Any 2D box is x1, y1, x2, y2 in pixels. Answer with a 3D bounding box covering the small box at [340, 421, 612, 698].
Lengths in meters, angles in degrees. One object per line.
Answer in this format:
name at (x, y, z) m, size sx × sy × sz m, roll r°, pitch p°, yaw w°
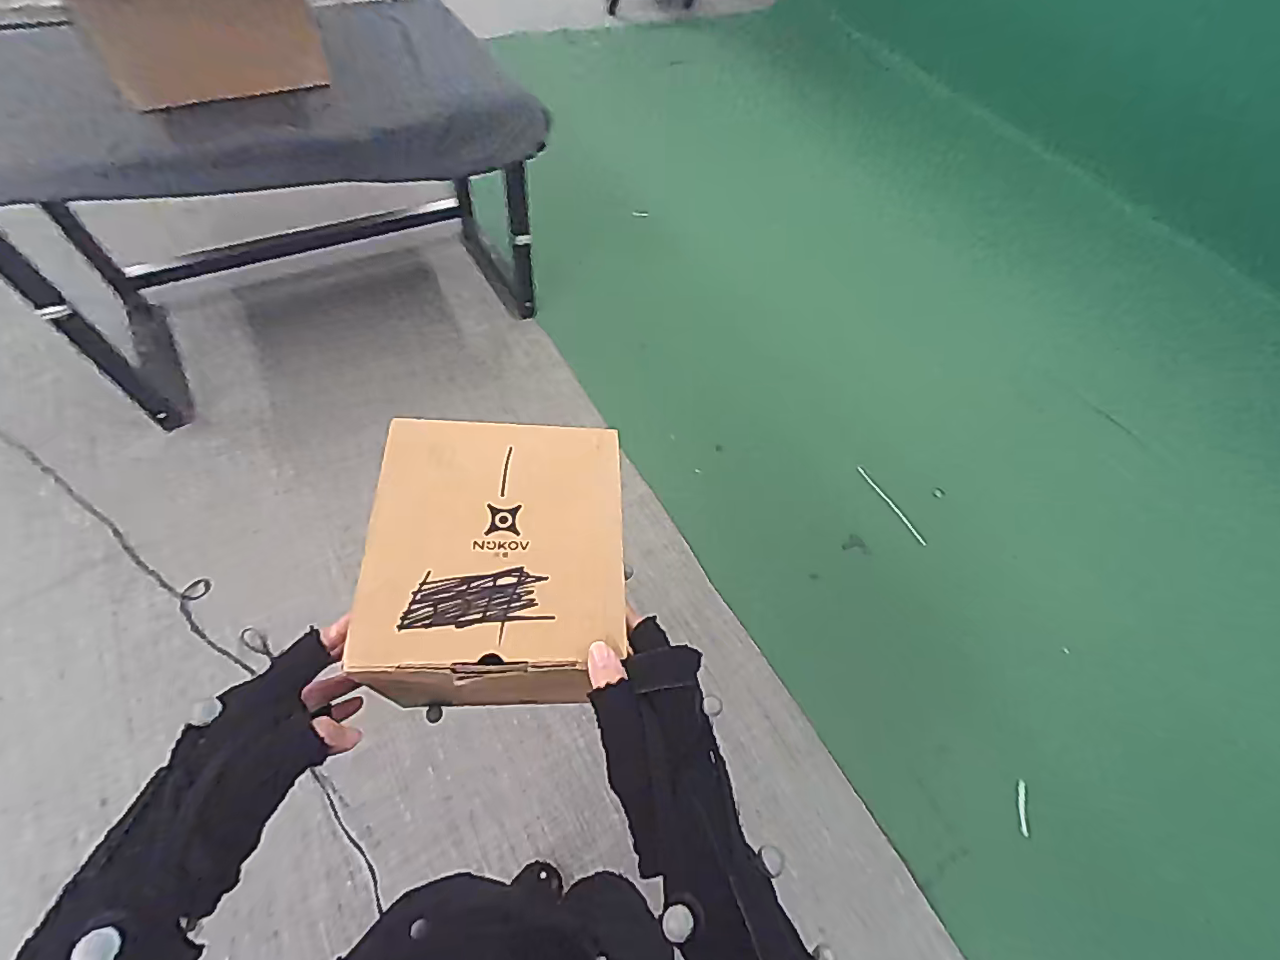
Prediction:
small box at (-0.112, 0.074, 0.436) m, size 0.168 × 0.176 × 0.179 m, roll 2°, pitch 59°, yaw -10°
